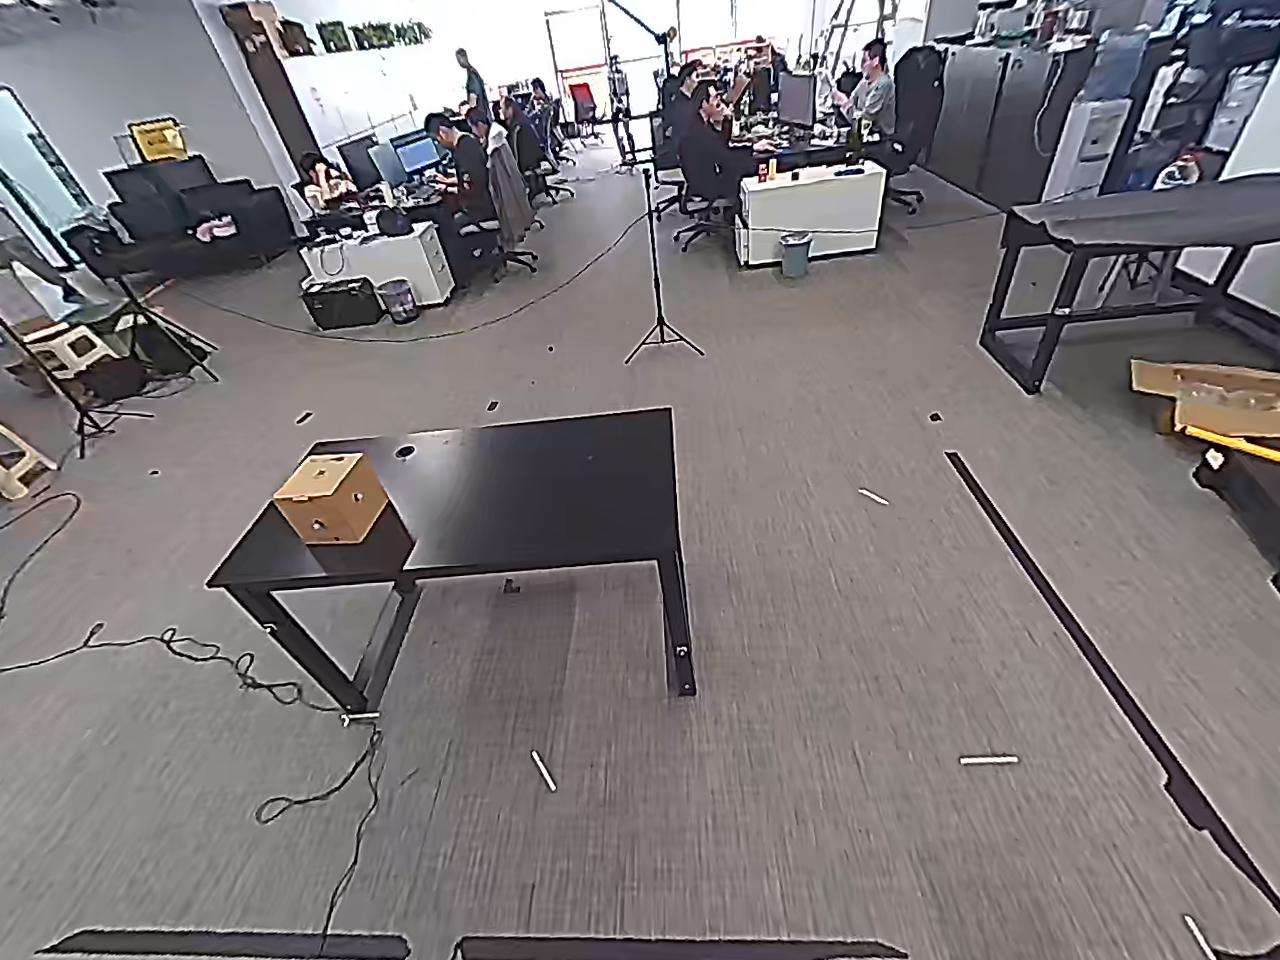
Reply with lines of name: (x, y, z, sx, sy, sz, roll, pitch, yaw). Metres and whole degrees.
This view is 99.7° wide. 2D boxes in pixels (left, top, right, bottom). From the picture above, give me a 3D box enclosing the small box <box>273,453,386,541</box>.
small box: (-0.809, 0.049, 1.434, 0.168, 0.176, 0.179, -2, 41, 8)
